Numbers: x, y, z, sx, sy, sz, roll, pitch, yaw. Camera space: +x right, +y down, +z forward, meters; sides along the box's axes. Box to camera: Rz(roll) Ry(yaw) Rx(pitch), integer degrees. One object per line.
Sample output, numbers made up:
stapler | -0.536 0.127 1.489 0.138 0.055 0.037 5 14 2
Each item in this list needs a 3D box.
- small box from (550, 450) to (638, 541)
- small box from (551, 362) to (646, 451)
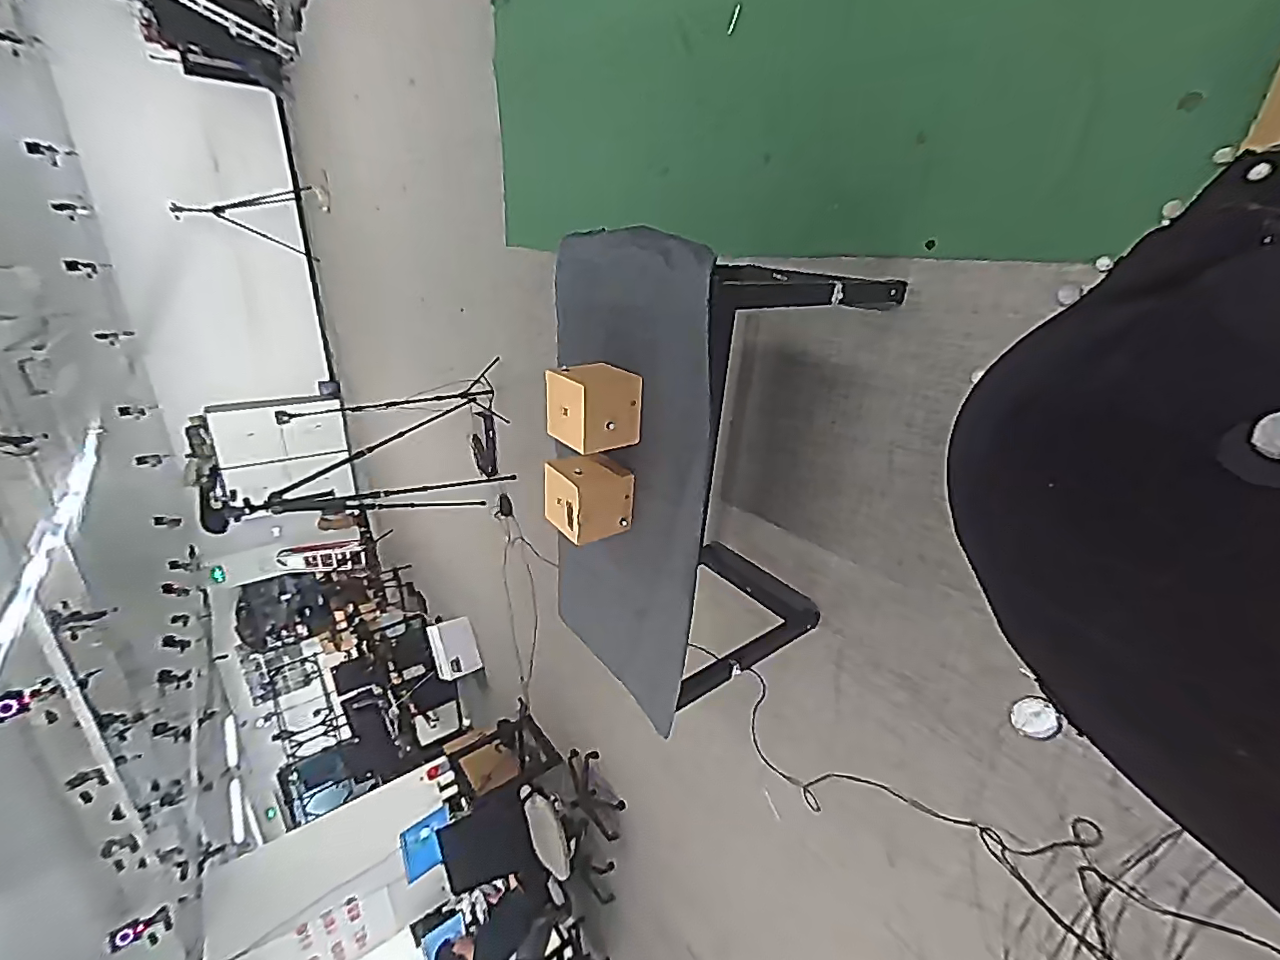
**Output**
small box | -0.121 0.033 1.429 0.179 0.176 0.168 33 128 45
small box | -0.100 -0.187 1.316 0.179 0.176 0.168 30 126 46
